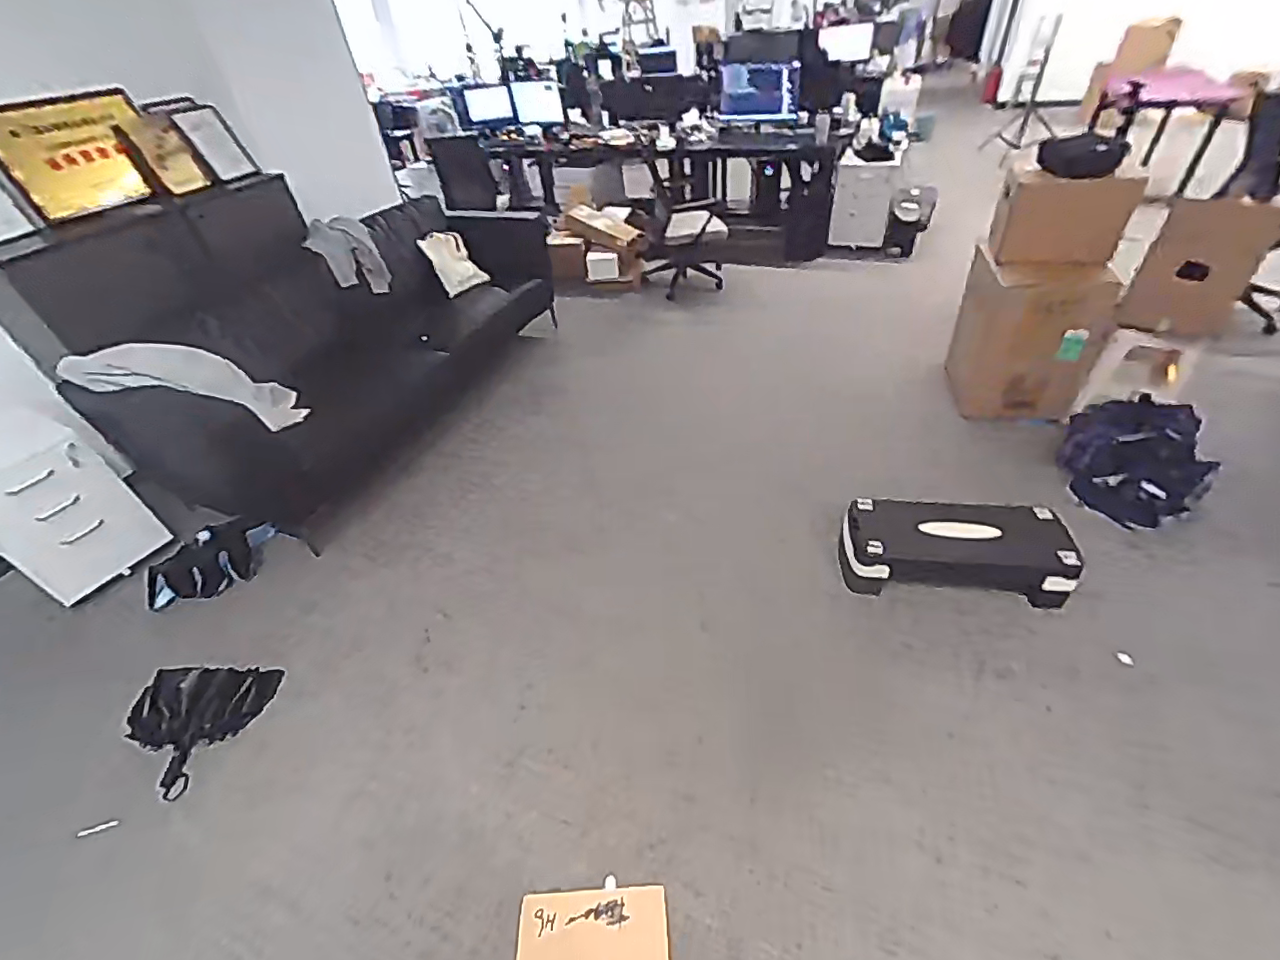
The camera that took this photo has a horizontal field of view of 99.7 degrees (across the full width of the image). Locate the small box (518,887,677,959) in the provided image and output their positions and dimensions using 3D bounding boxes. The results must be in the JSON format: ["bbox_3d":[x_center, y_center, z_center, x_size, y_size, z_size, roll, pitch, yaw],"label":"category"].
[{"bbox_3d":[-0.039,0.580,0.603,0.168,0.176,0.179,-5,44,1],"label":"small box"}]
